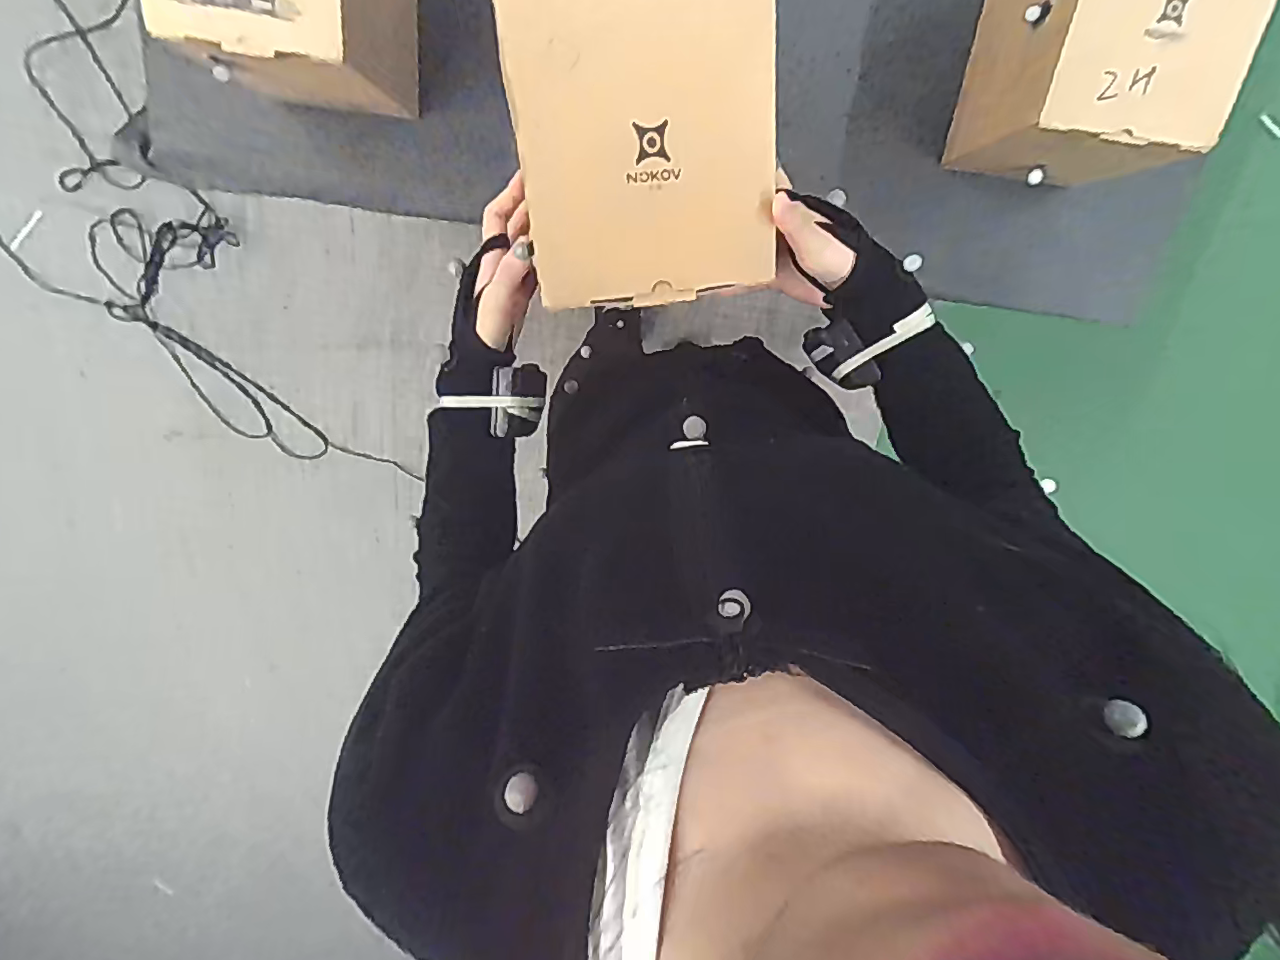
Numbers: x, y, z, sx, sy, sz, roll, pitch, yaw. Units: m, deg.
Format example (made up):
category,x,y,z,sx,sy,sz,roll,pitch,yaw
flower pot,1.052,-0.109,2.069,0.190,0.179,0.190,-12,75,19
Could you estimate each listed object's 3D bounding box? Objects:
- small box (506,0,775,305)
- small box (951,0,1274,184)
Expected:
category,x,y,z,sx,sy,sz,roll,pitch,yaw
small box,-0.005,-0.240,0.421,0.168,0.176,0.179,-9,113,-7
small box,0.442,-0.411,0.529,0.168,0.176,0.179,7,109,0
